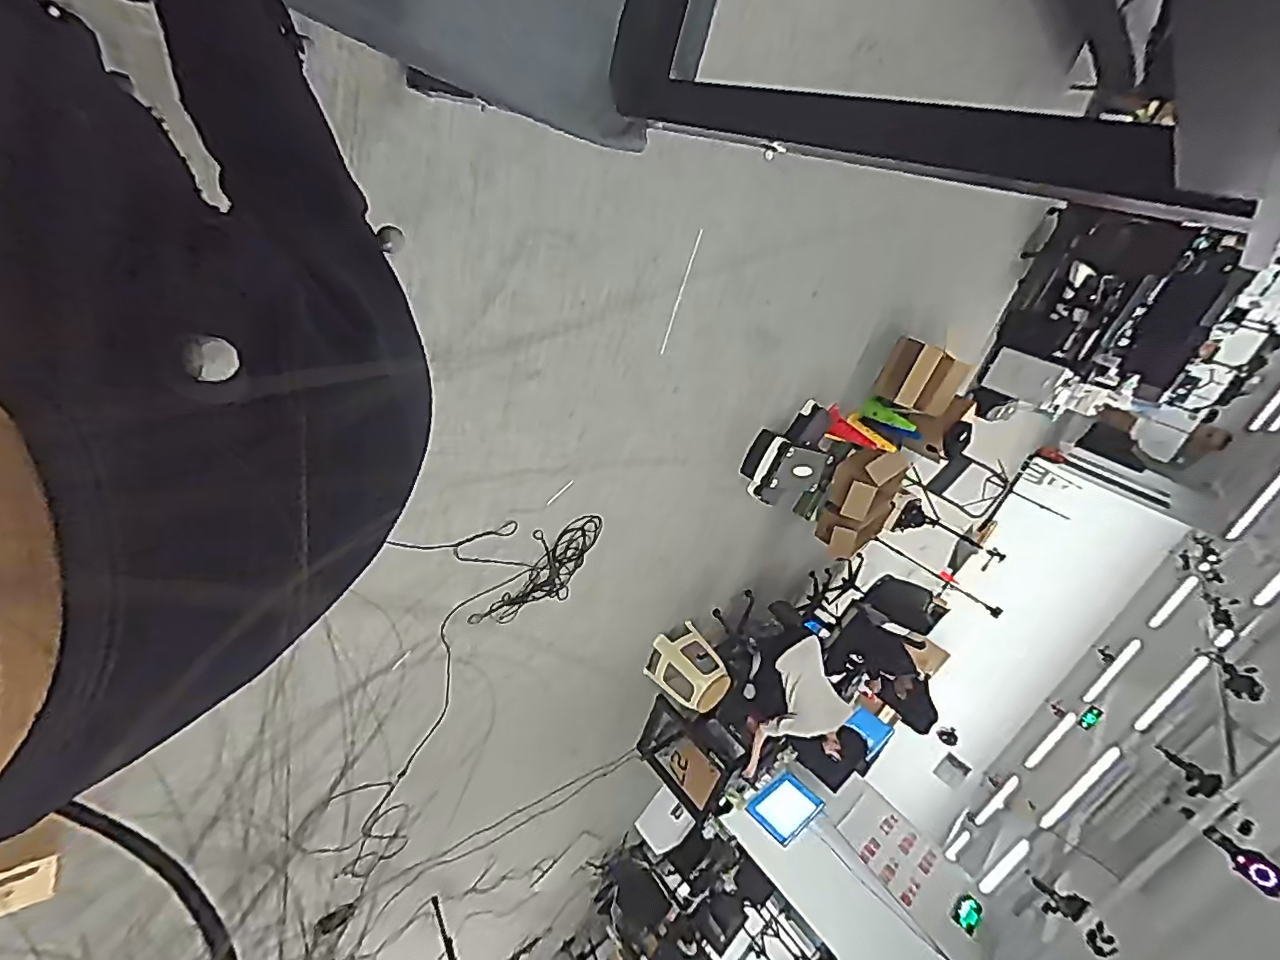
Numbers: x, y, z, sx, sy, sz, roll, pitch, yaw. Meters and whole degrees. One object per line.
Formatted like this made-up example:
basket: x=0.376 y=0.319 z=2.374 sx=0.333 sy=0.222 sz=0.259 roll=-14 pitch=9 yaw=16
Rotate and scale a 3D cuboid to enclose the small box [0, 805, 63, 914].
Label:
small box: x=-1.629 y=0.986 z=1.405 sx=0.168 sy=0.176 sz=0.179 roll=4 pitch=117 yaw=-48
